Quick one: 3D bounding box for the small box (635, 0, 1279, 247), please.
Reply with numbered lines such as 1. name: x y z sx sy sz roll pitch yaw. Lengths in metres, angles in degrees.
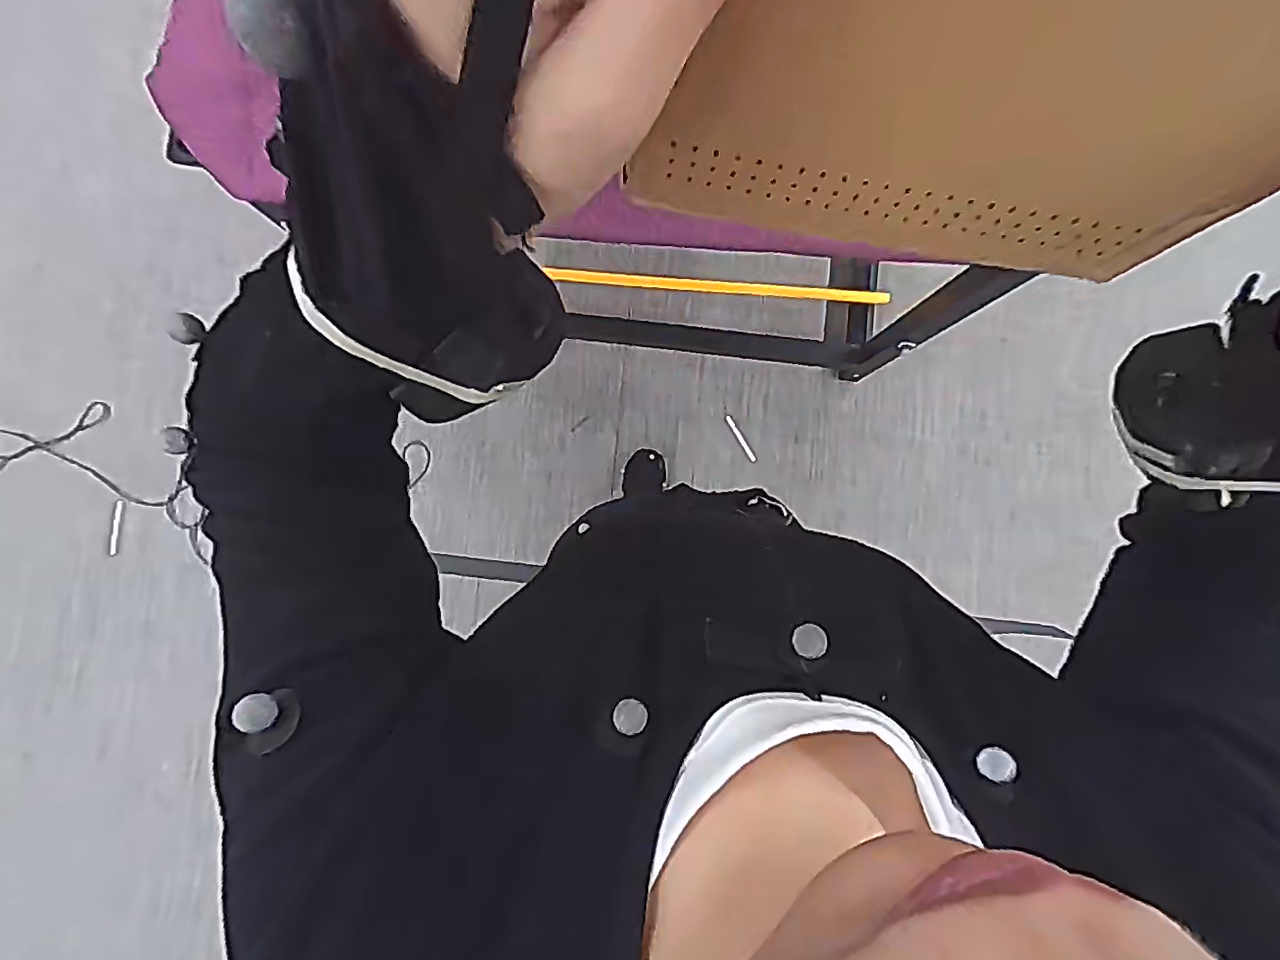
1. small box: 0.098 -0.175 0.112 0.179 0.176 0.168 9 83 -1
